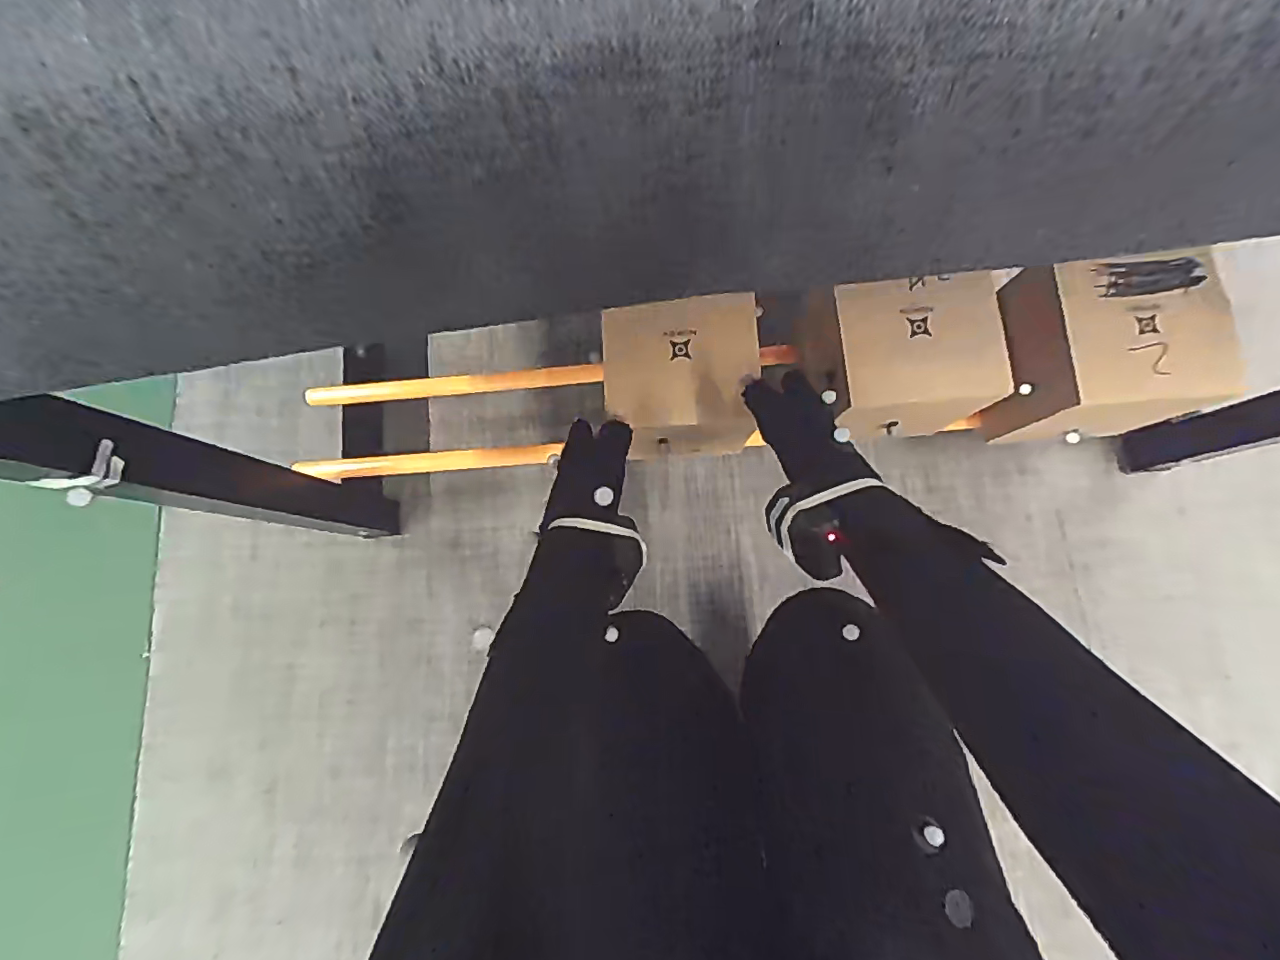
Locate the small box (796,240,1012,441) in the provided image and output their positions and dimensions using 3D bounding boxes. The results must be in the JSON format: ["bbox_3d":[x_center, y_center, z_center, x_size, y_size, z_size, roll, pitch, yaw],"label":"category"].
[{"bbox_3d":[0.292,-0.149,0.638,0.168,0.176,0.179,-5,79,2],"label":"small box"}]

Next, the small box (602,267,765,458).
[{"bbox_3d":[0.047,-0.125,0.645,0.168,0.176,0.179,-3,80,1],"label":"small box"}]
